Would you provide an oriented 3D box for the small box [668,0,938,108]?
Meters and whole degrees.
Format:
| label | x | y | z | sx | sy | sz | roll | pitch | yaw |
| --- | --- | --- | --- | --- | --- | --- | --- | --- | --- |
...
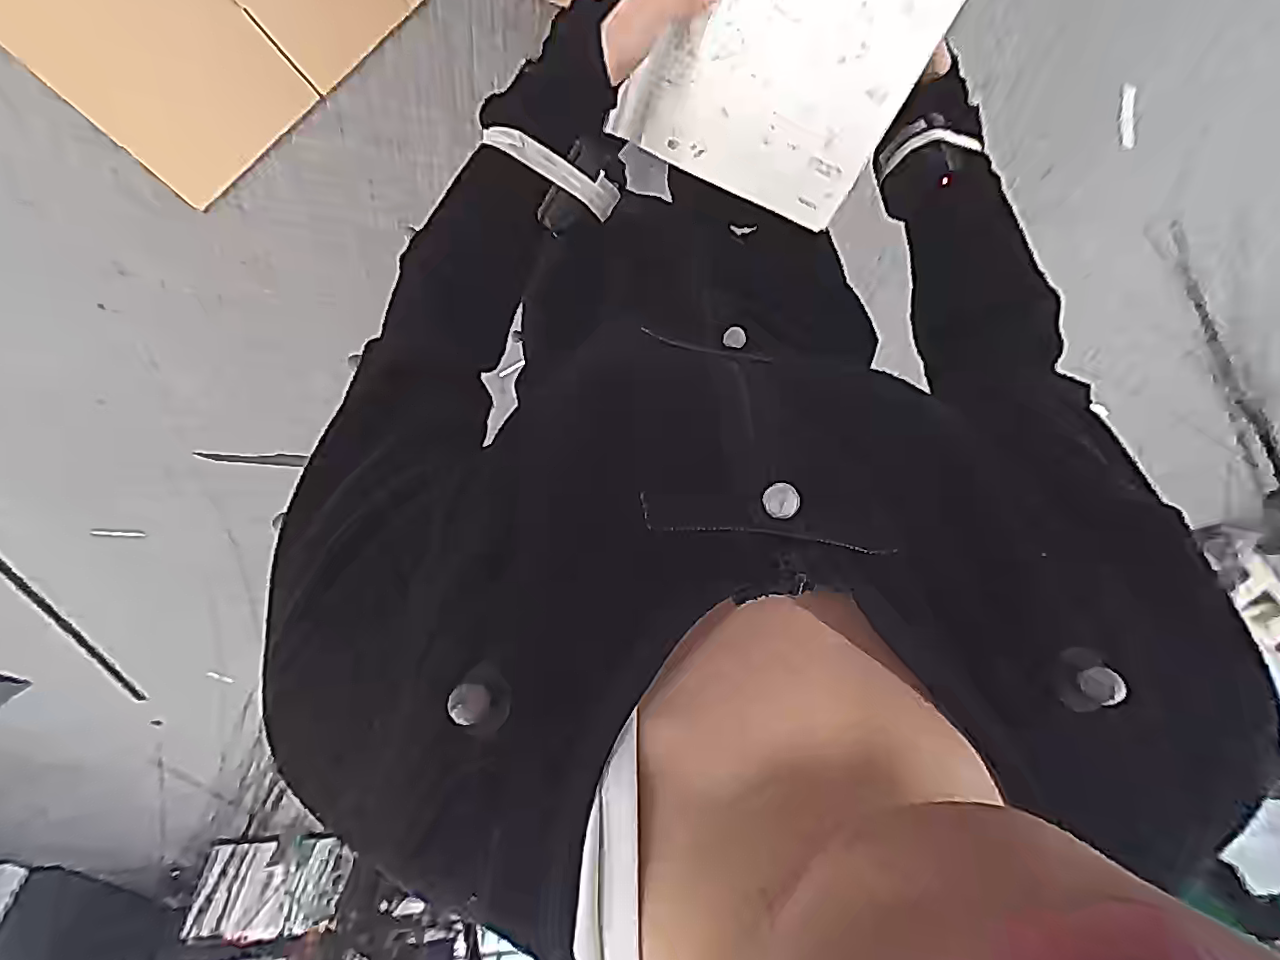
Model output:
| label | x | y | z | sx | sy | sz | roll | pitch | yaw |
| --- | --- | --- | --- | --- | --- | --- | --- | --- | --- |
| small box | 0.125 | -0.429 | 0.399 | 0.168 | 0.176 | 0.179 | 4 | 93 | -15 |
